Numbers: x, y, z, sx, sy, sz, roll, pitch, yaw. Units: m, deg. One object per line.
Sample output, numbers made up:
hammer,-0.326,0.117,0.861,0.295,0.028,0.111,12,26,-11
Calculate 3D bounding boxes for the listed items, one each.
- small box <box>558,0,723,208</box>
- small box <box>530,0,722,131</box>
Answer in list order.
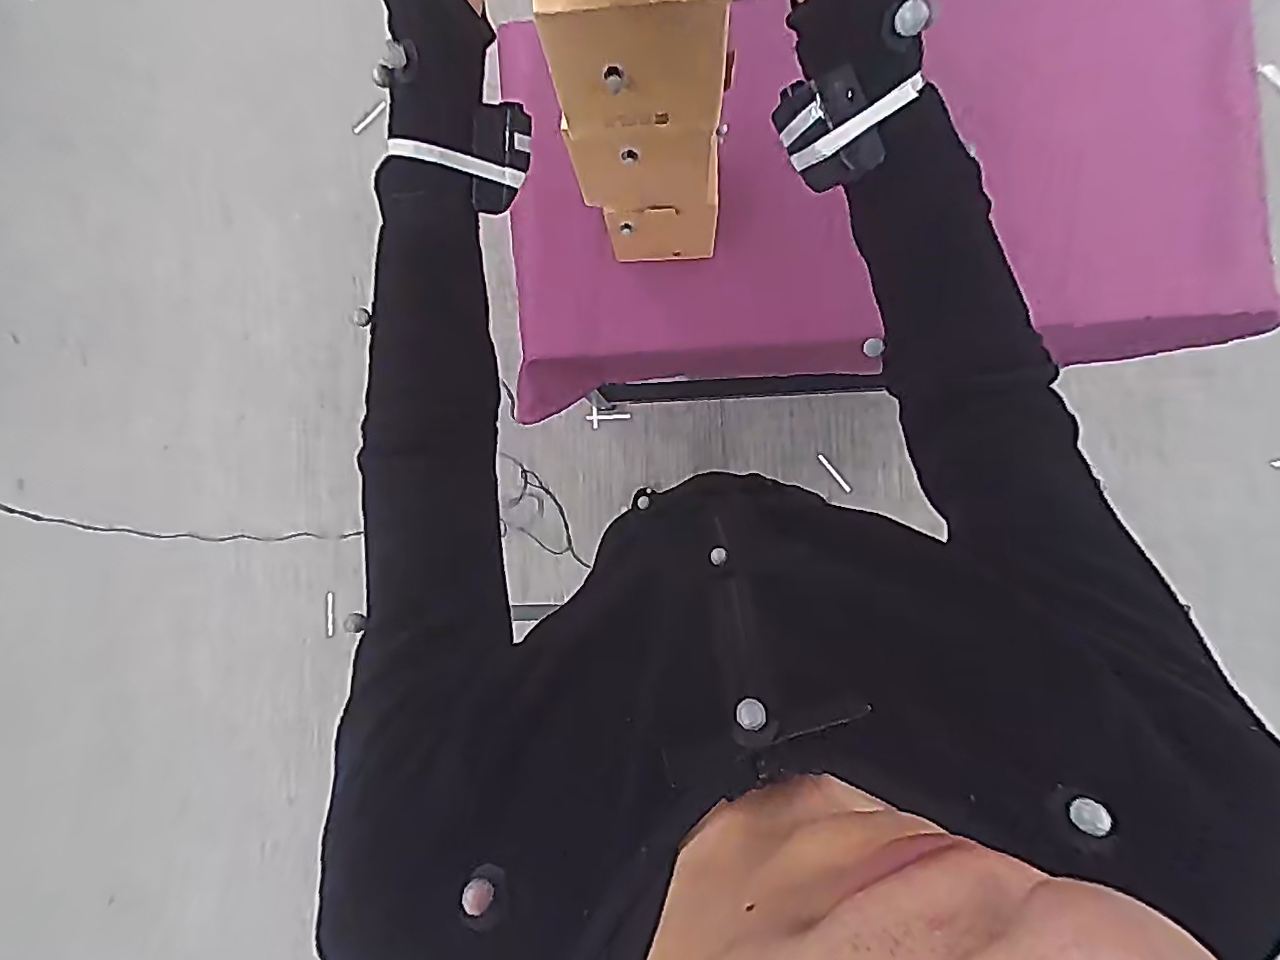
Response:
small box,0.006,-0.471,0.690,0.179,0.176,0.168,5,89,4
small box,-0.006,-0.473,0.527,0.168,0.176,0.179,-2,87,4
